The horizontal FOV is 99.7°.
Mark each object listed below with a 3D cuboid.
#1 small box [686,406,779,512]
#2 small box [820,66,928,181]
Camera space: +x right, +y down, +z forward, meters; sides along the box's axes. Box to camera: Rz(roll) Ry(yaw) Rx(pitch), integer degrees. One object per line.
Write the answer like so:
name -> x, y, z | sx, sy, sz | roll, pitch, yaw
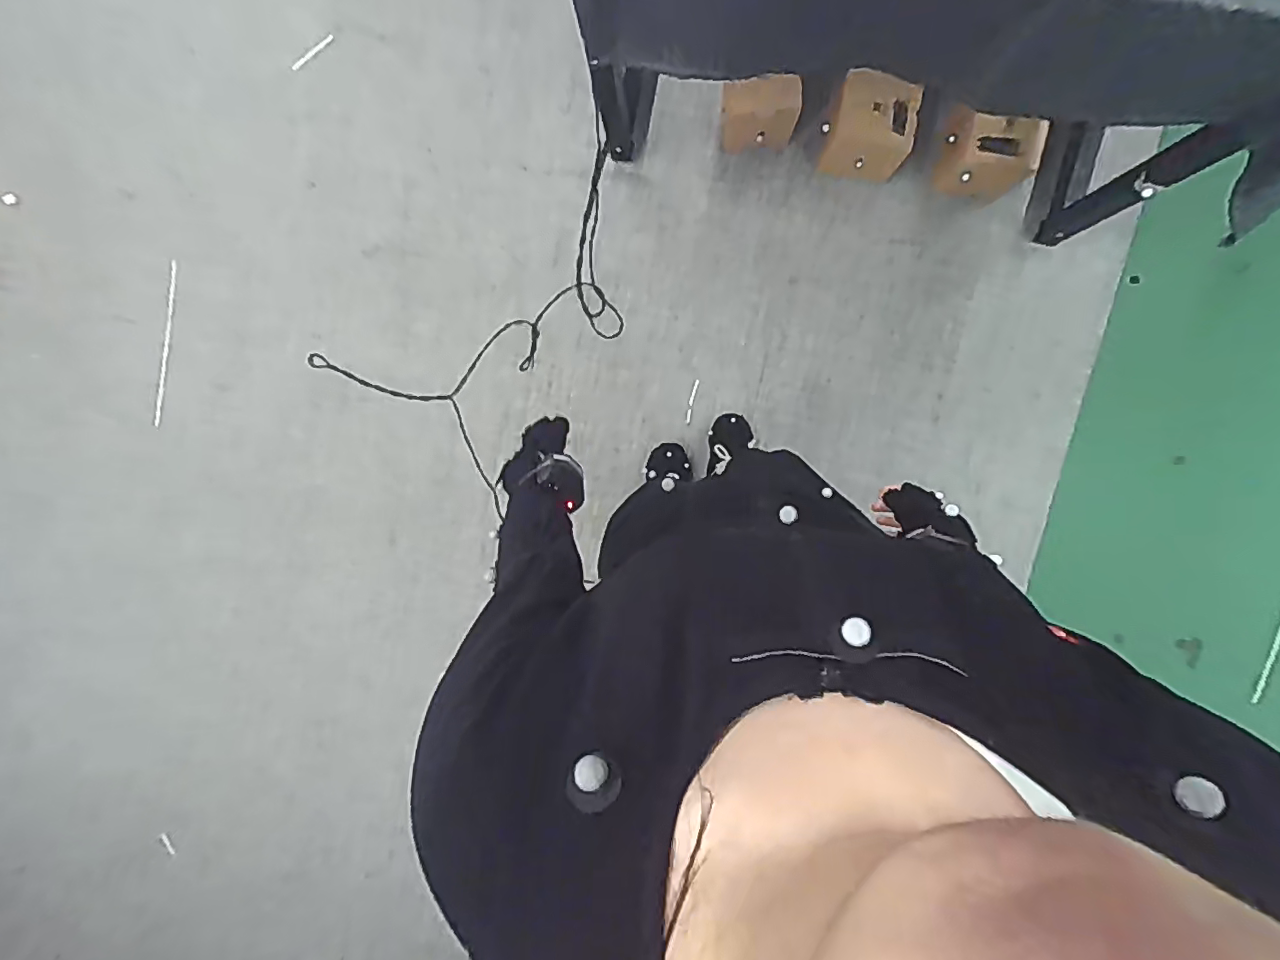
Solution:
small box -> 0.231, -0.052, 1.405 | 0.179, 0.176, 0.168 | -37, 64, -16
small box -> 0.557, -0.852, 1.309 | 0.179, 0.176, 0.168 | 11, 95, 4
